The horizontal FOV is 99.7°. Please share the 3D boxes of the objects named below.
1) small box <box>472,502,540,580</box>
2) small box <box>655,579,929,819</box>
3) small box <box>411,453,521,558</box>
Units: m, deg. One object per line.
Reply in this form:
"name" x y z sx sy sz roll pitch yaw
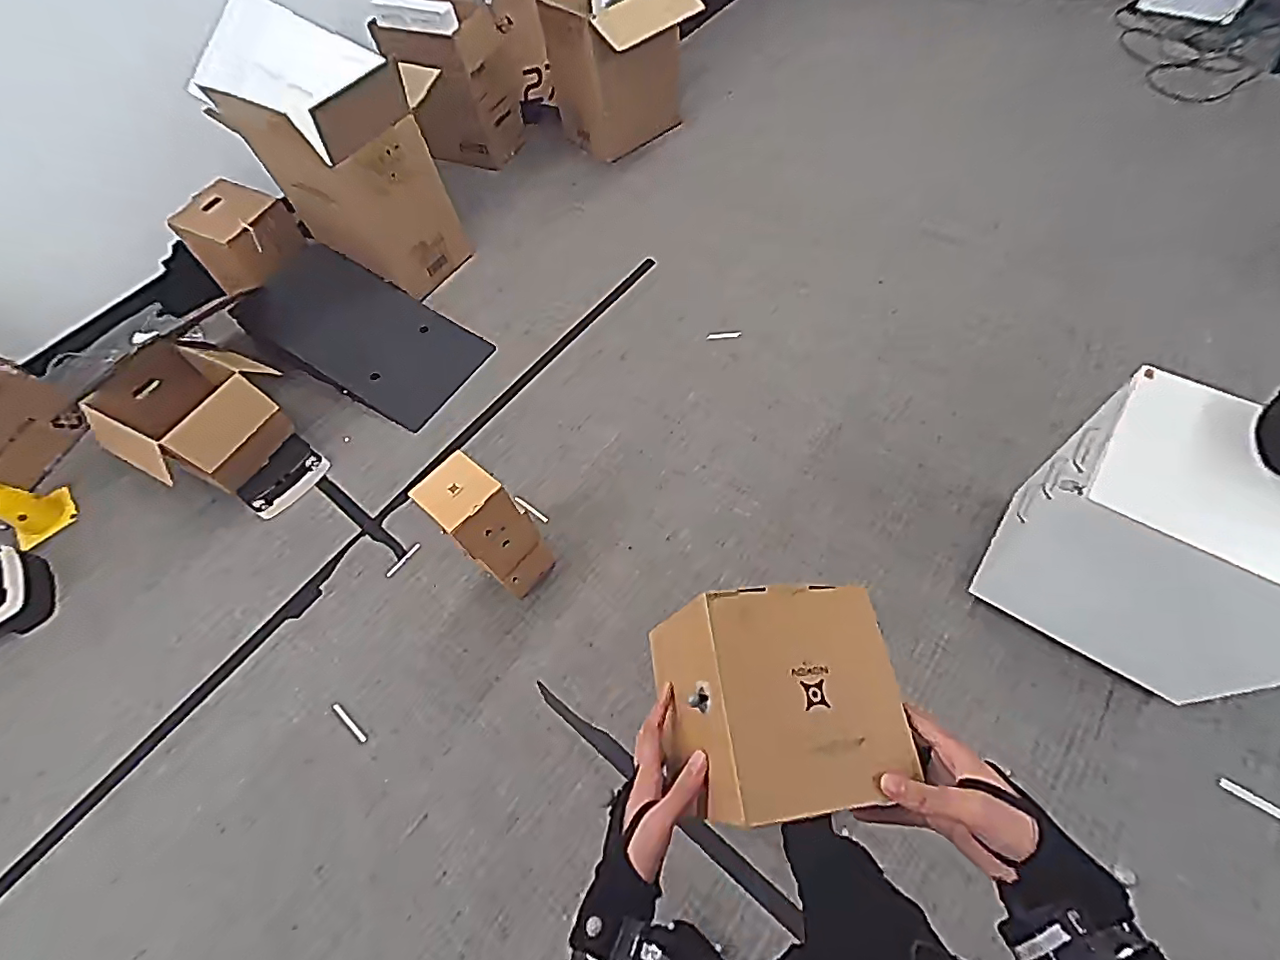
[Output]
"small box" -0.406 0.150 1.512 0.168 0.176 0.179 32 67 23
"small box" 0.120 0.203 0.508 0.168 0.176 0.179 2 62 -17
"small box" -0.434 0.070 1.372 0.179 0.176 0.168 35 68 23
